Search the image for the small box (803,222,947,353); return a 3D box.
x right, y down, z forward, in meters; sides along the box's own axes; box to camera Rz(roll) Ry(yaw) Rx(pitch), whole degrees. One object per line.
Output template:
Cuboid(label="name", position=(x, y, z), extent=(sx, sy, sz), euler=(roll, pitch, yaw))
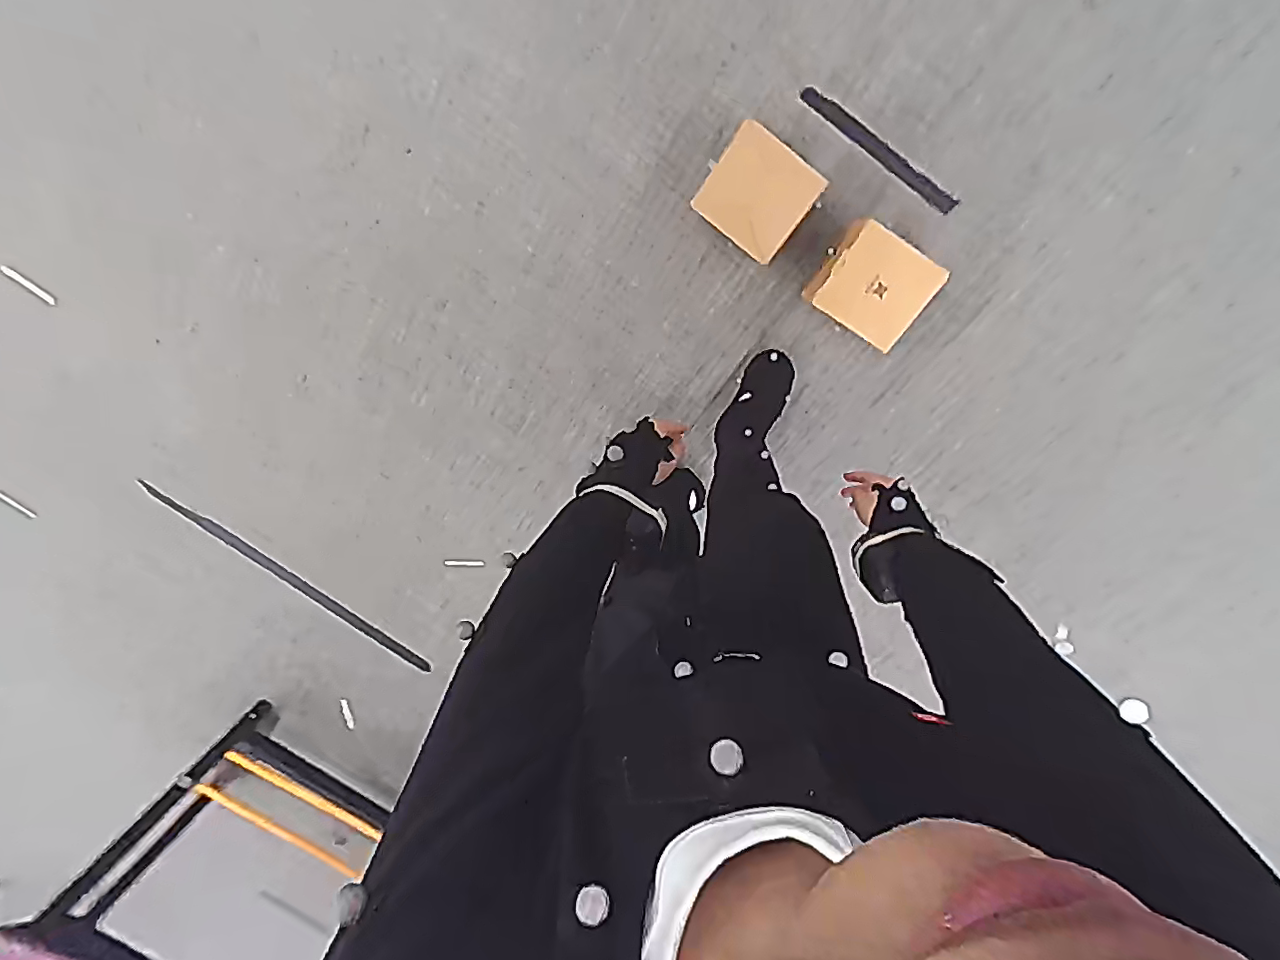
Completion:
Cuboid(label="small box", position=(0.439, -0.375, 1.043), extent=(0.179, 0.176, 0.168), euler=(33, 115, -4))

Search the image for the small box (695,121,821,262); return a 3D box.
Cuboid(label="small box", position=(0.218, -0.528, 1.011), extent=(0.179, 0.176, 0.168), euler=(37, 115, -7))
